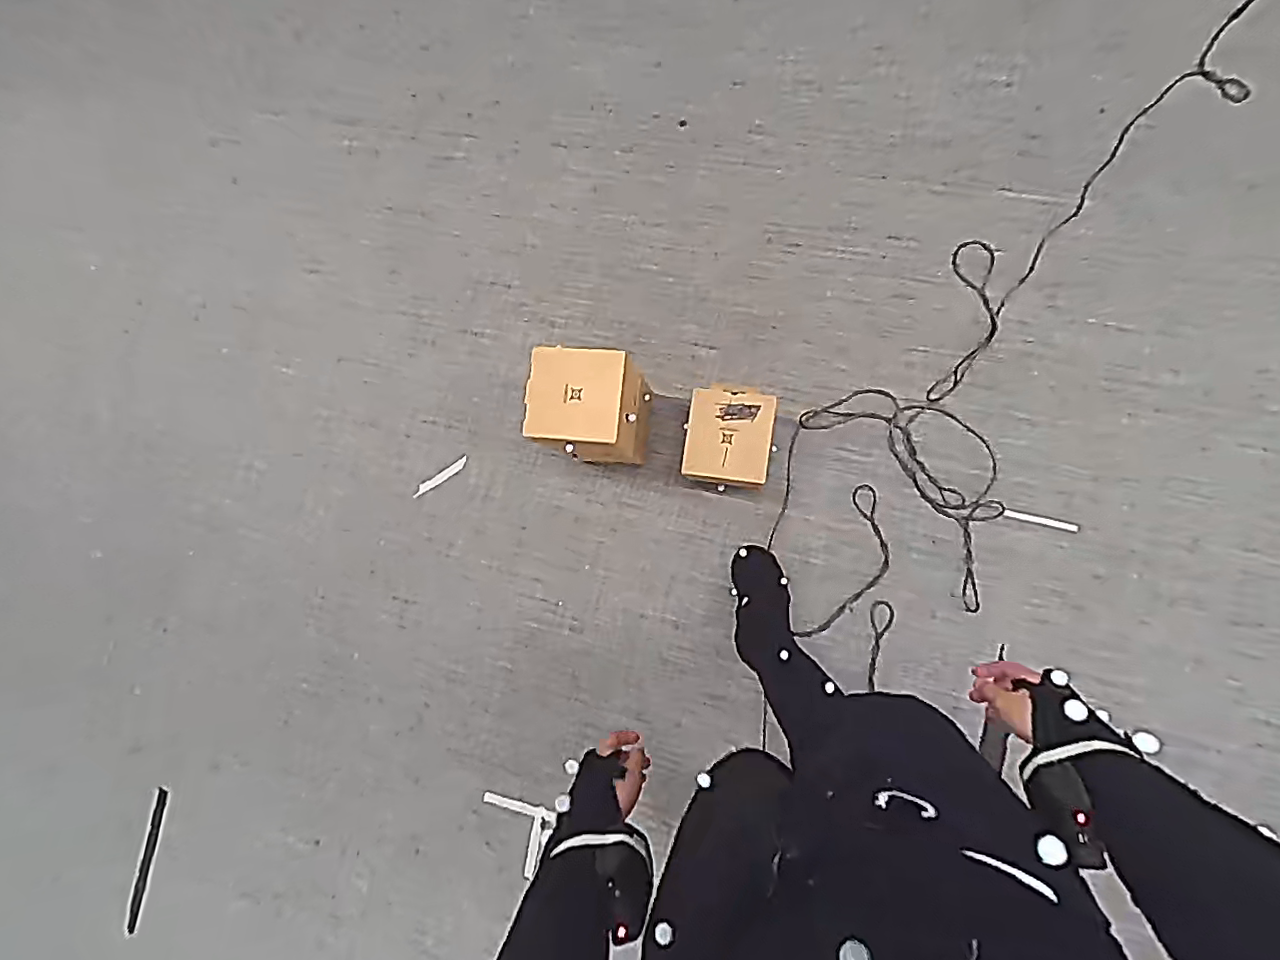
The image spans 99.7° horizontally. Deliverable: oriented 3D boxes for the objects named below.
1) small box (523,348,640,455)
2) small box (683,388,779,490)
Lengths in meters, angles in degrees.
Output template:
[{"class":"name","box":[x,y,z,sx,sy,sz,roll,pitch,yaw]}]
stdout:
[{"class":"small box","box":[-0.101,-0.141,1.021,0.179,0.176,0.168,5,86,11]},{"class":"small box","box":[0.189,-0.080,1.127,0.168,0.176,0.179,8,87,12]}]
